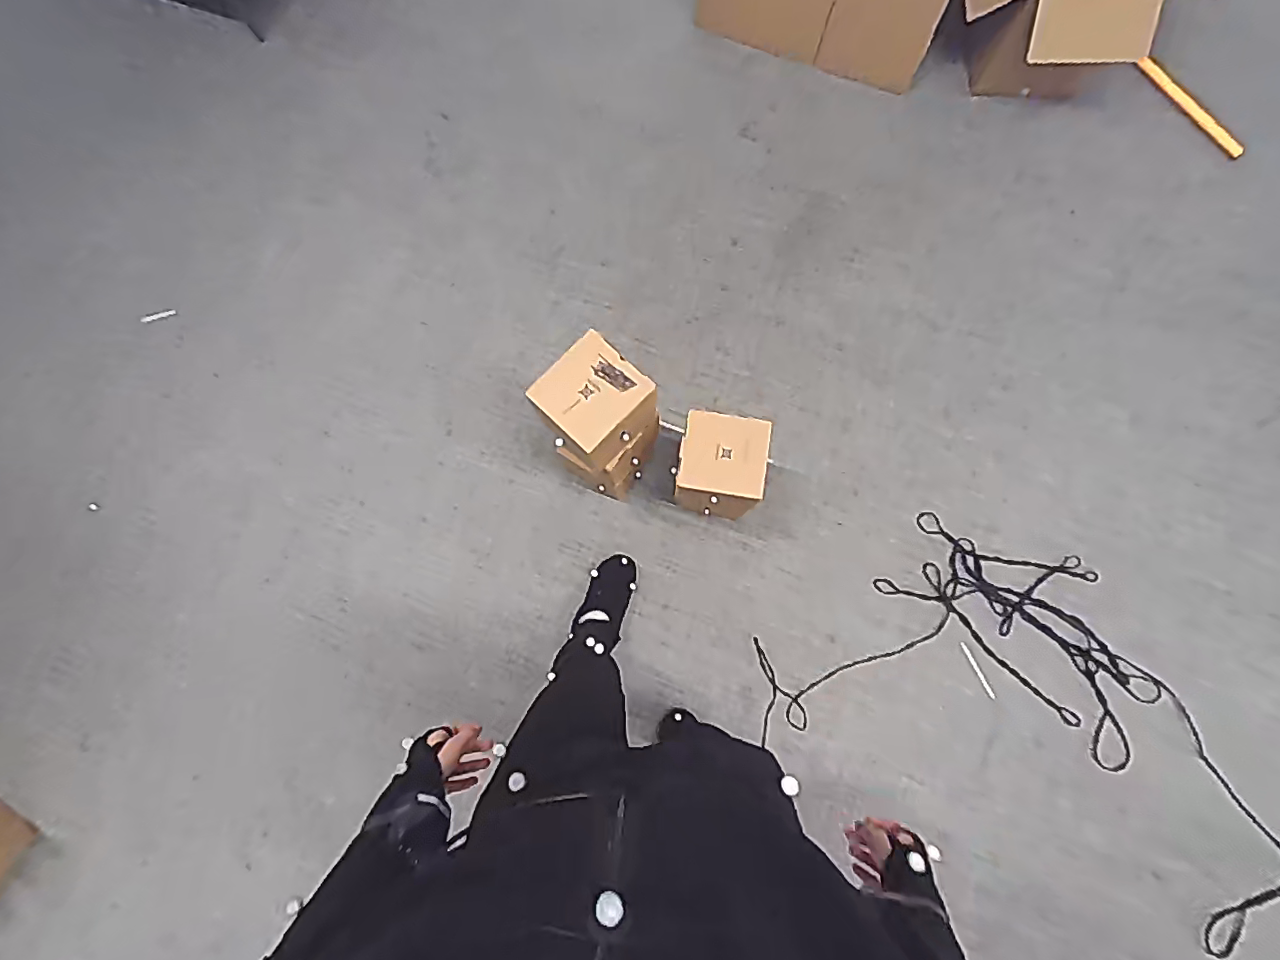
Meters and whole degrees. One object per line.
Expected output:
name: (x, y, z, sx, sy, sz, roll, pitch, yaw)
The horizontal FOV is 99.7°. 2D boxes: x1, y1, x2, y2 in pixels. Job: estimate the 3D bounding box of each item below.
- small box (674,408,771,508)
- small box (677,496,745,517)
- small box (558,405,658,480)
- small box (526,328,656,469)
small box: (0.171, -0.041, 1.169, 0.179, 0.176, 0.168, 10, 79, 5)
small box: (0.188, -0.017, 1.330, 0.168, 0.176, 0.179, 14, 78, 6)
small box: (-0.077, -0.120, 1.199, 0.179, 0.176, 0.168, 38, 81, 8)
small box: (-0.088, -0.148, 1.037, 0.168, 0.176, 0.179, 43, 83, 9)
